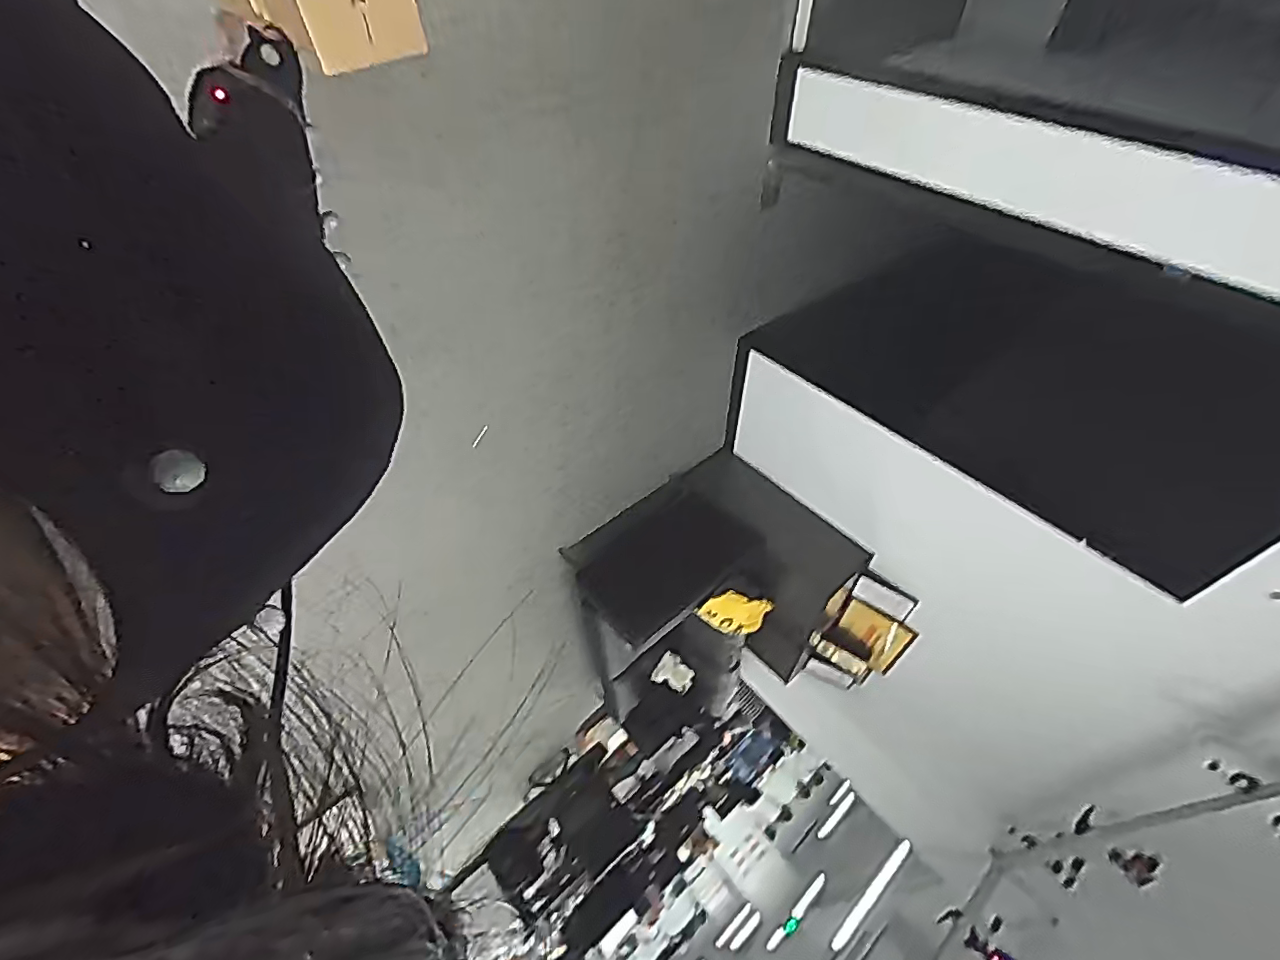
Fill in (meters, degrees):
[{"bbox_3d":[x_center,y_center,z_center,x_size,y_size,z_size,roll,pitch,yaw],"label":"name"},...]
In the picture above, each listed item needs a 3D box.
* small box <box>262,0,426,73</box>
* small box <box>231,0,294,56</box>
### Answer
[{"bbox_3d":[-0.444,-0.716,0.772,0.168,0.176,0.179,-35,148,-24],"label":"small box"},{"bbox_3d":[-0.557,-0.801,0.857,0.179,0.176,0.168,-34,148,-23],"label":"small box"}]
